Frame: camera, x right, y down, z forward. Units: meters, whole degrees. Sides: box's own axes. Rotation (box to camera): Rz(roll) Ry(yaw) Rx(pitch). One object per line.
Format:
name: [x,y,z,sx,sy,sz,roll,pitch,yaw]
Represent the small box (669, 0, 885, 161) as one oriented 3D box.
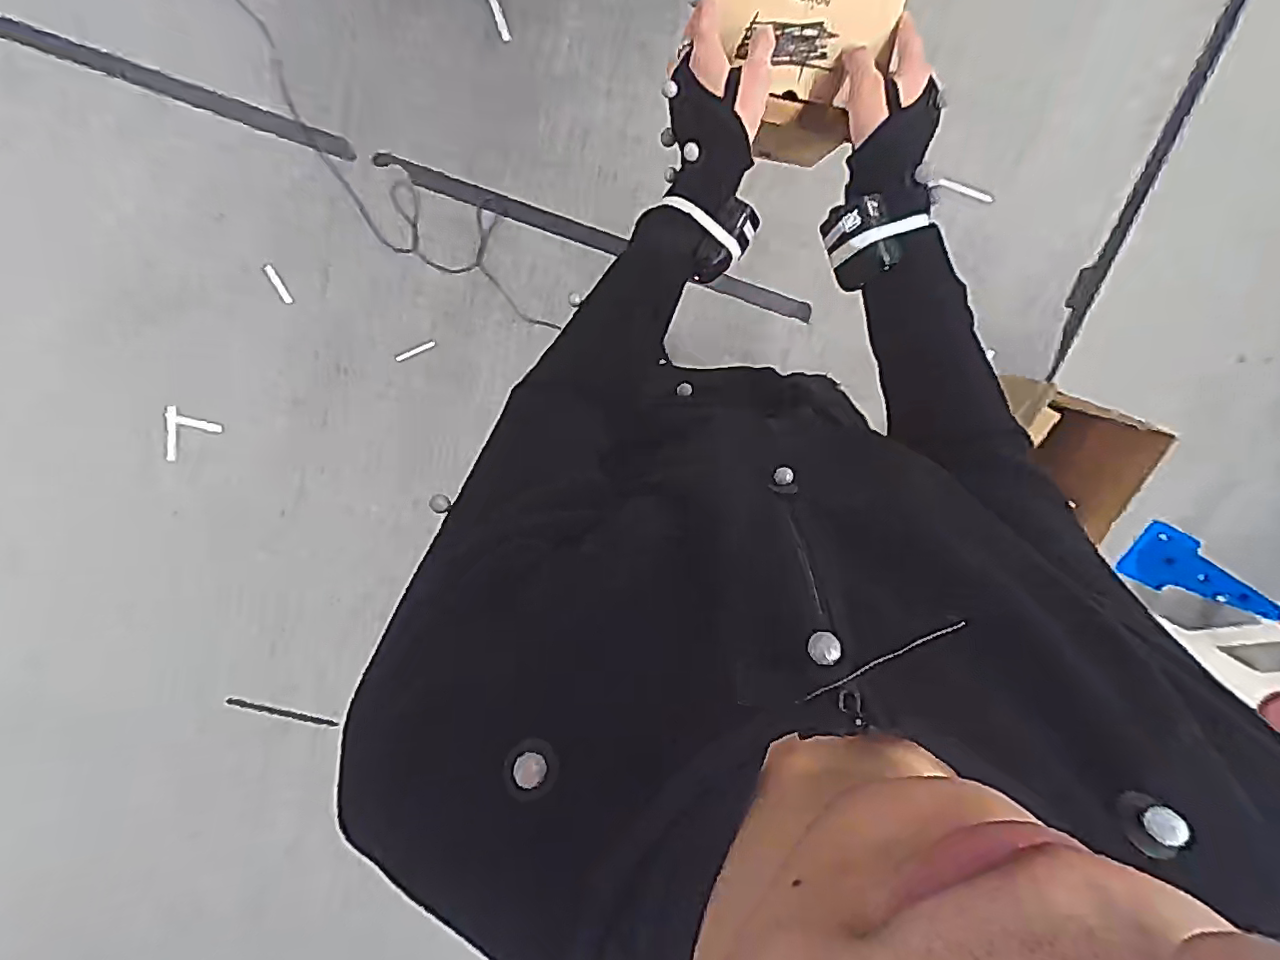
small box: [0.125,-0.439,0.531,0.168,0.176,0.179,7,105,-5]
